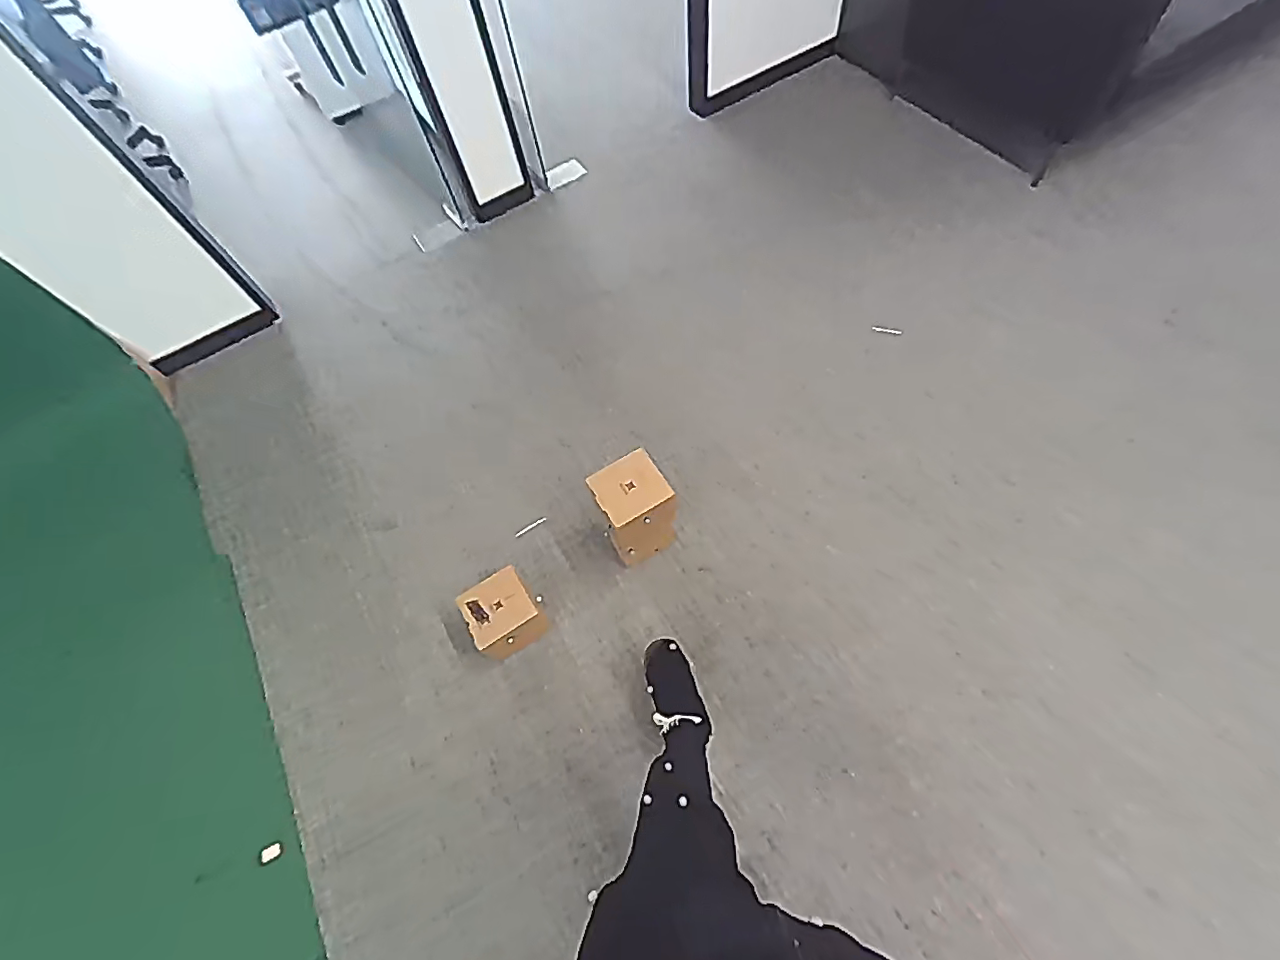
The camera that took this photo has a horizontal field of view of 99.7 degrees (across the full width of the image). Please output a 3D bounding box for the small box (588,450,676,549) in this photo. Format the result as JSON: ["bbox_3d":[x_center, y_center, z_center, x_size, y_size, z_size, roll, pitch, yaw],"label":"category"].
[{"bbox_3d":[-0.014,0.058,1.443,0.179,0.176,0.168,-29,64,-10],"label":"small box"}]

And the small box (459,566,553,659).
[{"bbox_3d":[-0.367,0.373,1.501,0.179,0.176,0.168,-31,64,-11],"label":"small box"}]
